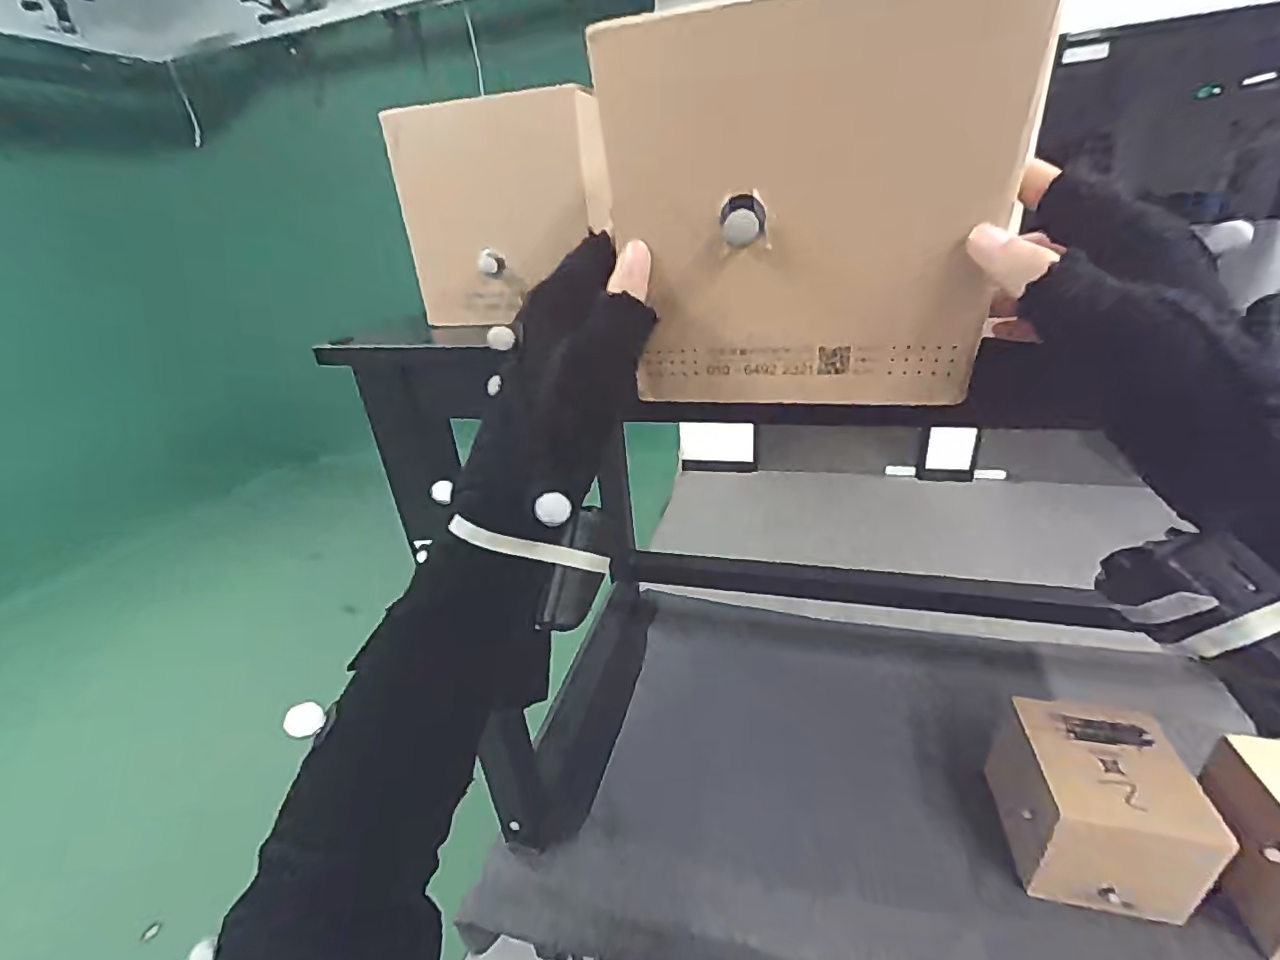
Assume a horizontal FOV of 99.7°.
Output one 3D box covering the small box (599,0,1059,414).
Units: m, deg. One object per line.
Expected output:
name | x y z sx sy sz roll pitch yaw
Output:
small box | 0.093 -0.148 0.304 0.168 0.176 0.179 3 37 16

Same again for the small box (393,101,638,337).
small box | -0.094 -0.240 0.514 0.168 0.176 0.179 3 28 14

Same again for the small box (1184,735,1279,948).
small box | 0.803 0.437 0.627 0.168 0.176 0.179 2 26 15
